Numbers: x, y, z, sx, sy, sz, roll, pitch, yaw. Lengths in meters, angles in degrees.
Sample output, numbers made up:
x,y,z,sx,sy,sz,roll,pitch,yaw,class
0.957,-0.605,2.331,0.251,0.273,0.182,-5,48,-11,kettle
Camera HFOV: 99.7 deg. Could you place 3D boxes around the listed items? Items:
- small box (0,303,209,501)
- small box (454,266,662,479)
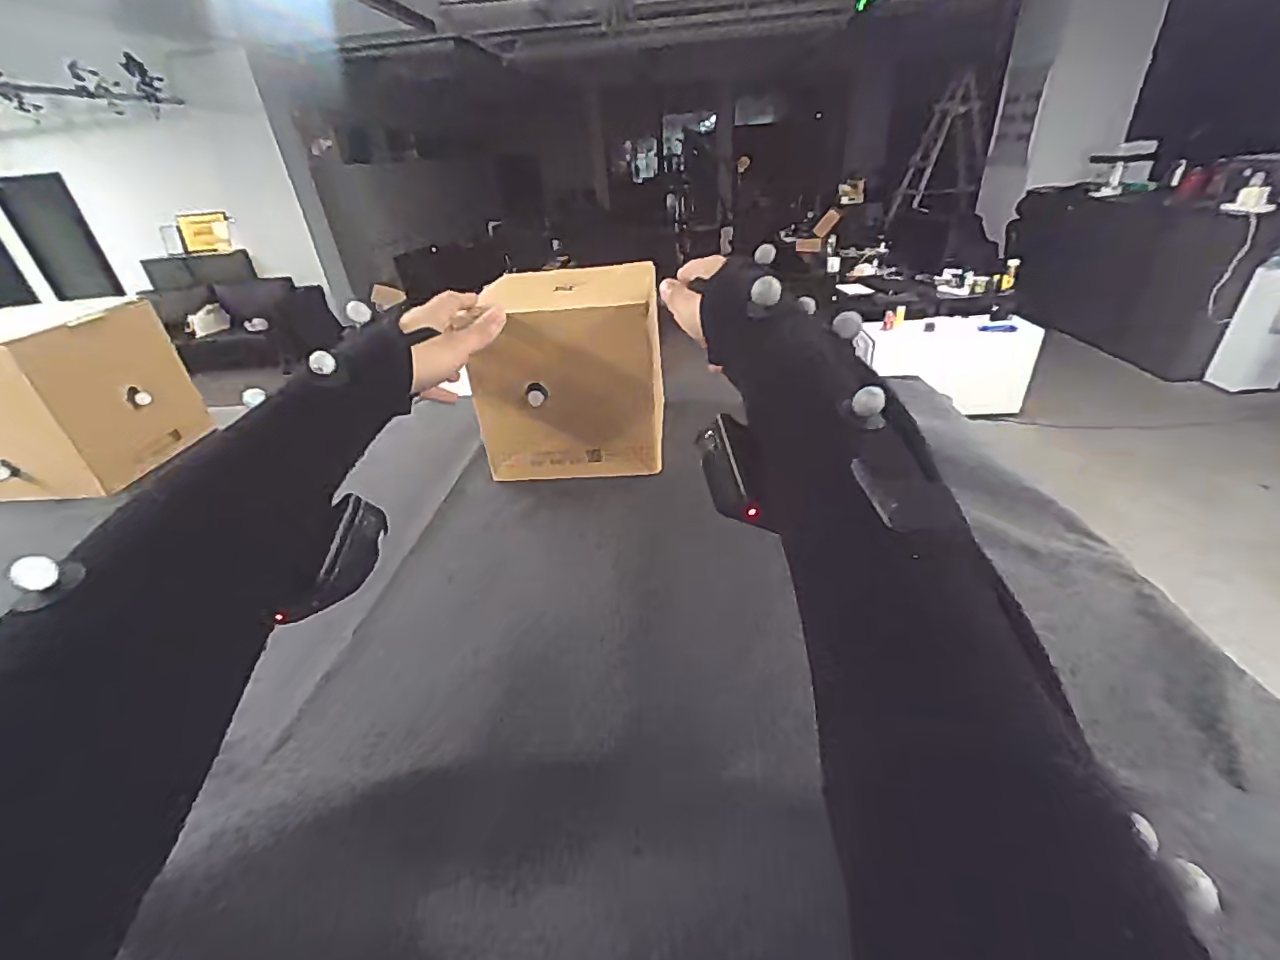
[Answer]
x,y,z,sx,sy,sz,roll,pitch,yaw,class
-0.639,-0.087,0.596,0.179,0.176,0.168,-2,31,3,small box
-0.064,-0.109,0.556,0.168,0.176,0.179,-2,31,5,small box
